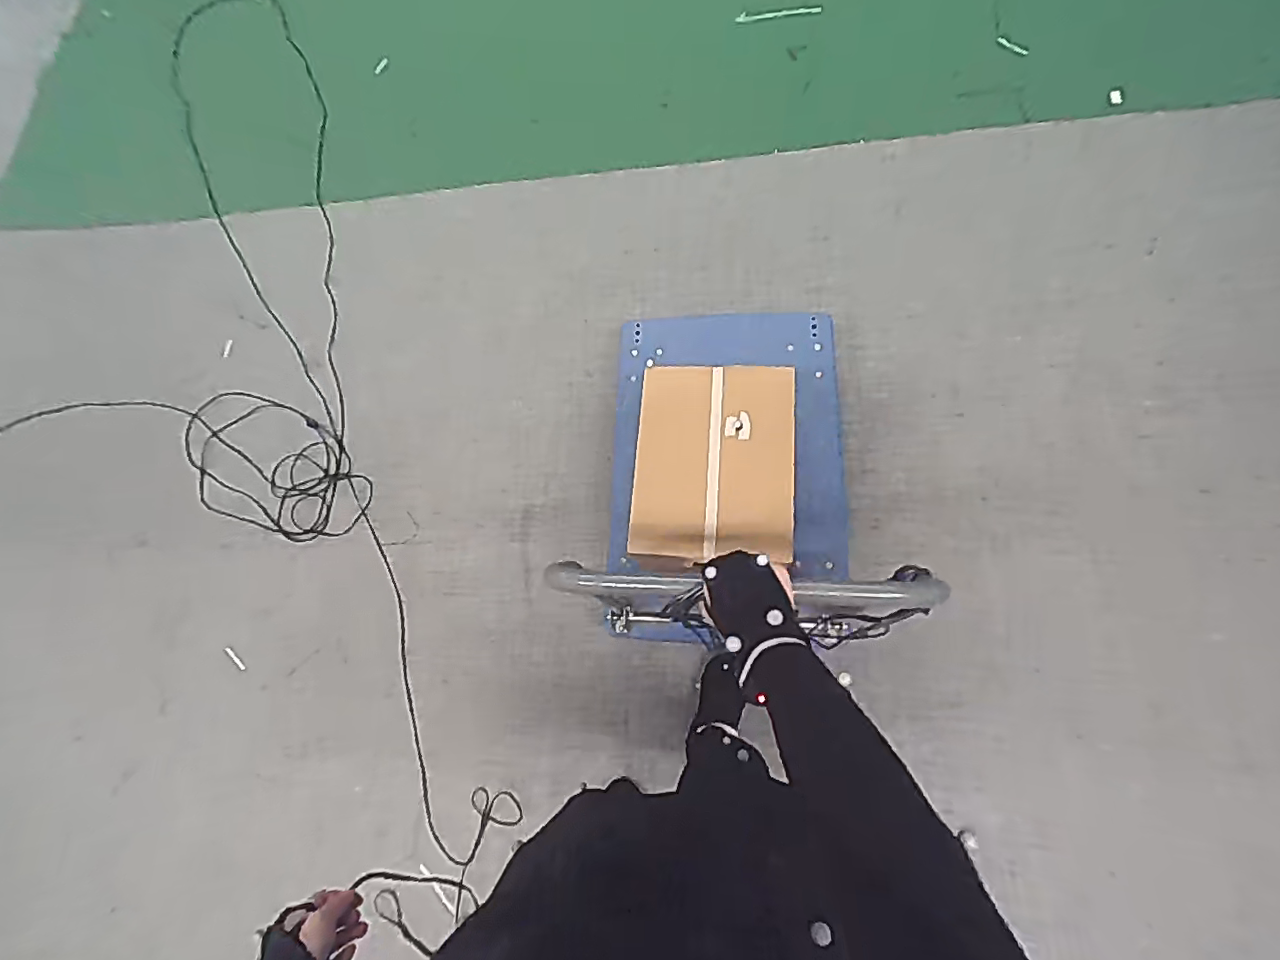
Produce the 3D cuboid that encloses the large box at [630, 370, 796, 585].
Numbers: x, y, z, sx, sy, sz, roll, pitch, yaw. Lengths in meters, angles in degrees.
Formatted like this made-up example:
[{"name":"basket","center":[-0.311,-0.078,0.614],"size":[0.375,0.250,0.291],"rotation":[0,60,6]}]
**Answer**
[{"name":"large box","center":[0.168,0.010,1.203],"size":[0.320,0.320,0.408],"rotation":[3,72,9]}]
